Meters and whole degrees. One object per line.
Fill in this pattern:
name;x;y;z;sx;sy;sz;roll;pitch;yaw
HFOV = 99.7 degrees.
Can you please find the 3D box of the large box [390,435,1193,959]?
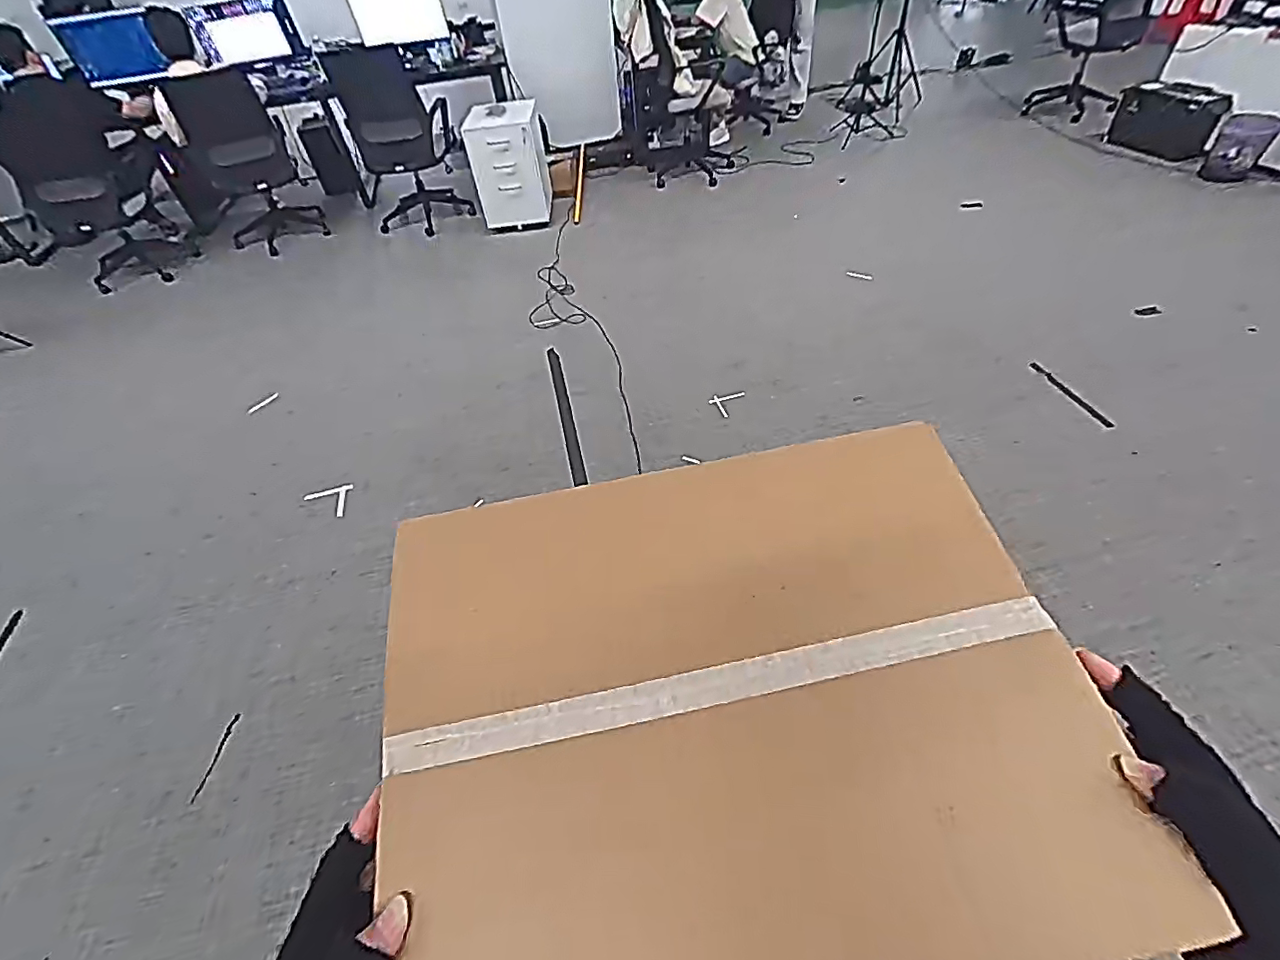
large box;0.061;0.208;0.456;0.408;0.320;0.320;-12;58;-3
